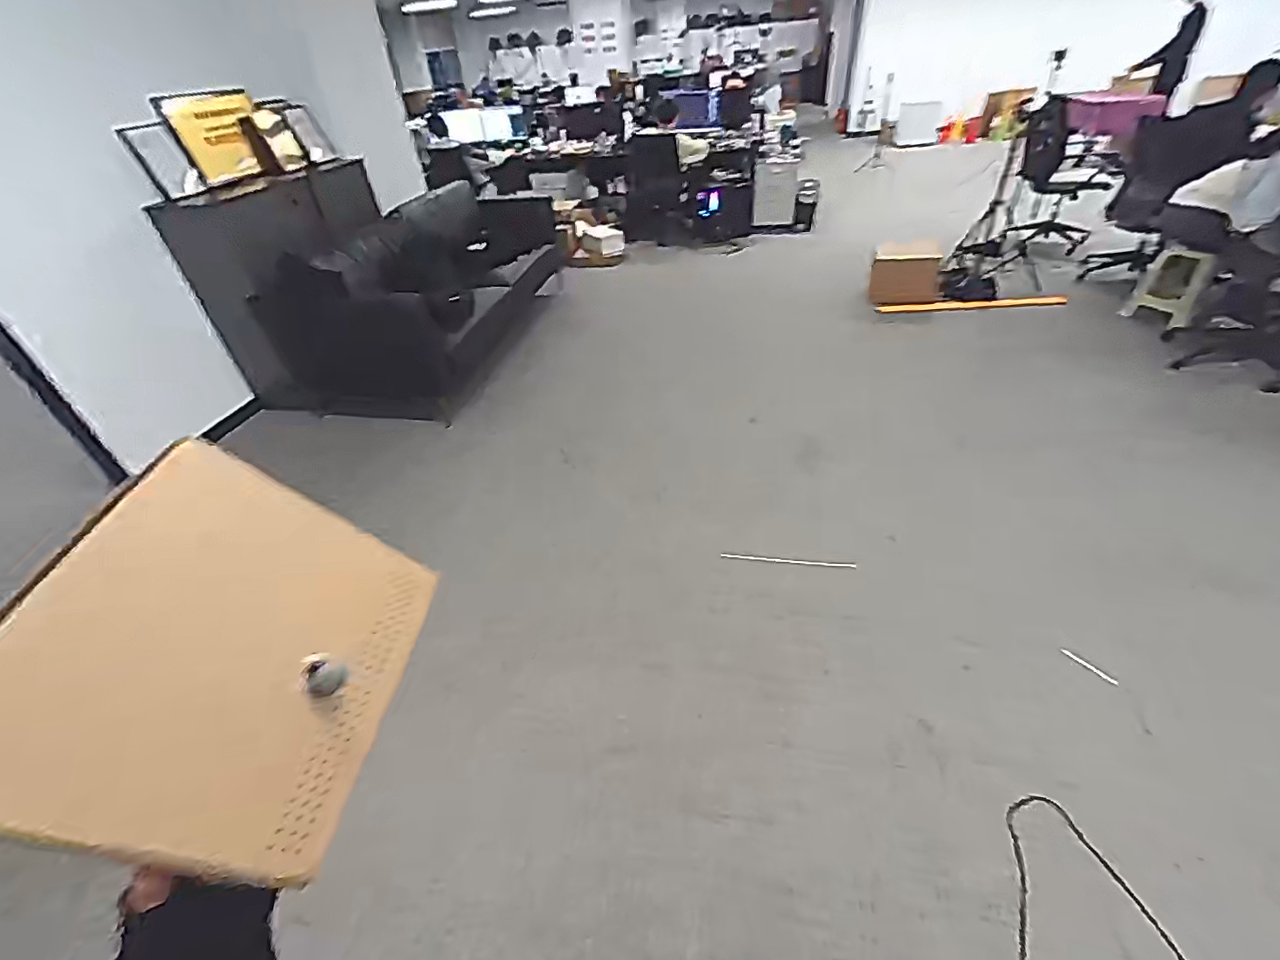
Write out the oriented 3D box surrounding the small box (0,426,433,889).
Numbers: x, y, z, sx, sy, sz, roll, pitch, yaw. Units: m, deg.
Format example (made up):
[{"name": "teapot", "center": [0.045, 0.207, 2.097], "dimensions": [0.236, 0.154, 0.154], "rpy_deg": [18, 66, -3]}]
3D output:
[{"name": "small box", "center": [-0.251, 0.107, 0.312], "dimensions": [0.168, 0.176, 0.179], "rpy_deg": [-25, 38, 33]}]
